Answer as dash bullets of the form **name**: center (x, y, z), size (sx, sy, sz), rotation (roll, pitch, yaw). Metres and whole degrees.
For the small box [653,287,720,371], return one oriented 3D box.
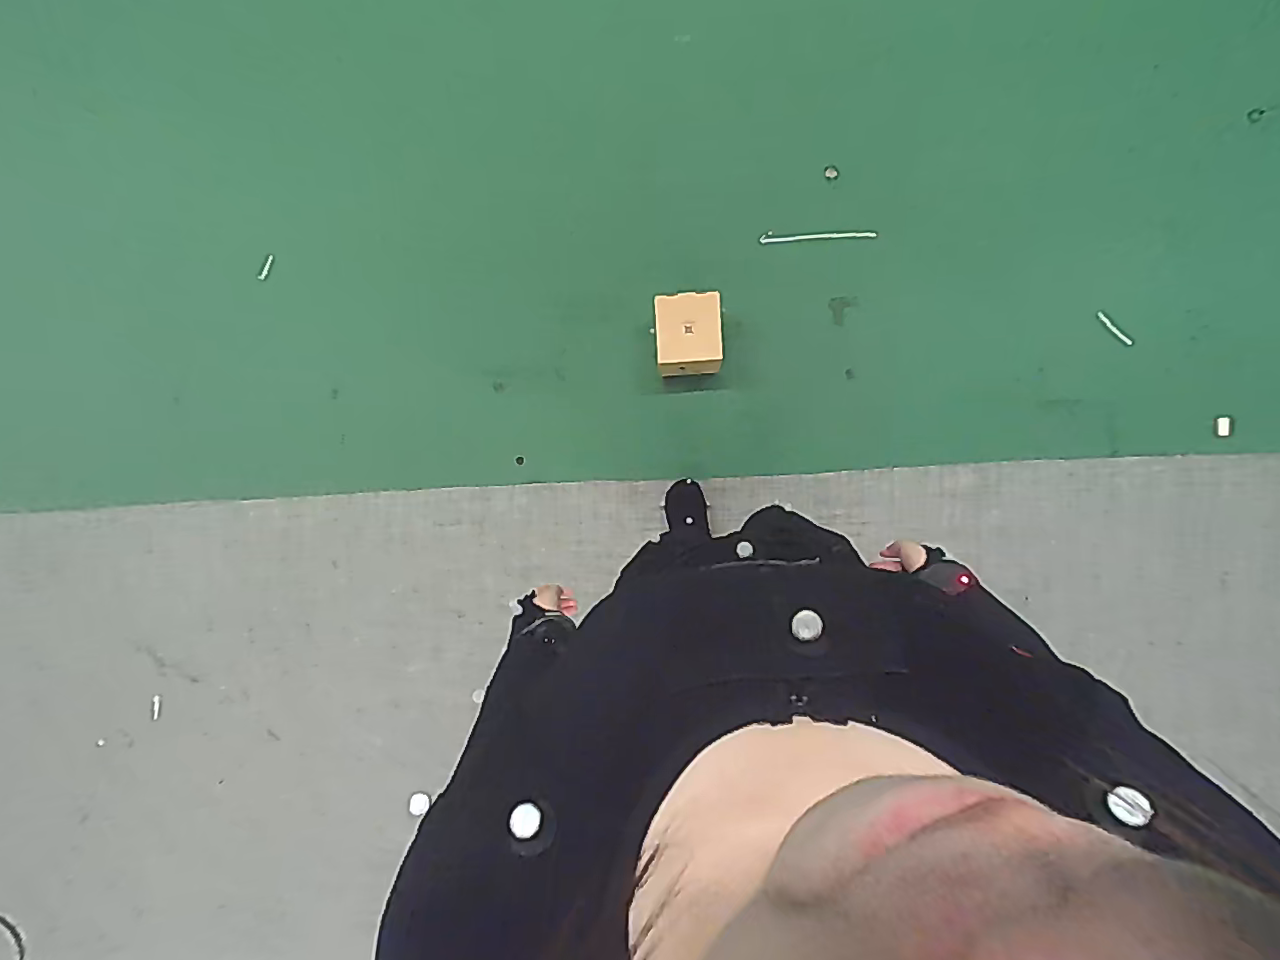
- **small box**: center (0.124, -0.391, 1.433), size (0.168, 0.176, 0.179), rotation (-3, 89, 5)
